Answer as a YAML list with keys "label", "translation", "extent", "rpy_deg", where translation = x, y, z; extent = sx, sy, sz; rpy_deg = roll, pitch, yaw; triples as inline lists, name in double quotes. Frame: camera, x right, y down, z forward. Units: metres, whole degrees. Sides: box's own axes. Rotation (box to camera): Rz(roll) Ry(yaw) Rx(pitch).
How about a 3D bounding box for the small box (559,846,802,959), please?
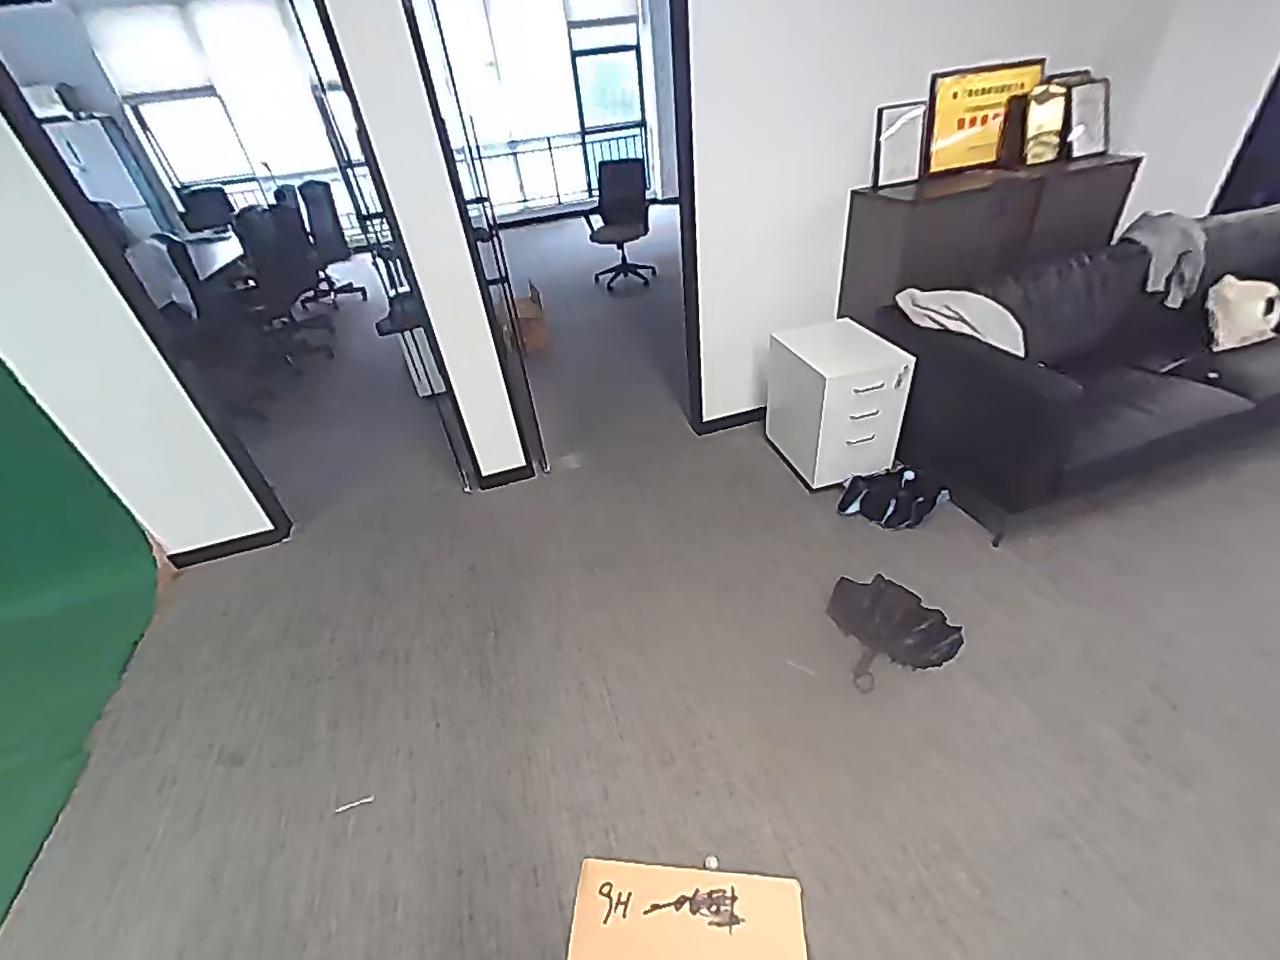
- label: "small box"
  translation: [0.026, 0.402, 0.397]
  extent: [0.168, 0.176, 0.179]
  rpy_deg: [3, 42, 5]
